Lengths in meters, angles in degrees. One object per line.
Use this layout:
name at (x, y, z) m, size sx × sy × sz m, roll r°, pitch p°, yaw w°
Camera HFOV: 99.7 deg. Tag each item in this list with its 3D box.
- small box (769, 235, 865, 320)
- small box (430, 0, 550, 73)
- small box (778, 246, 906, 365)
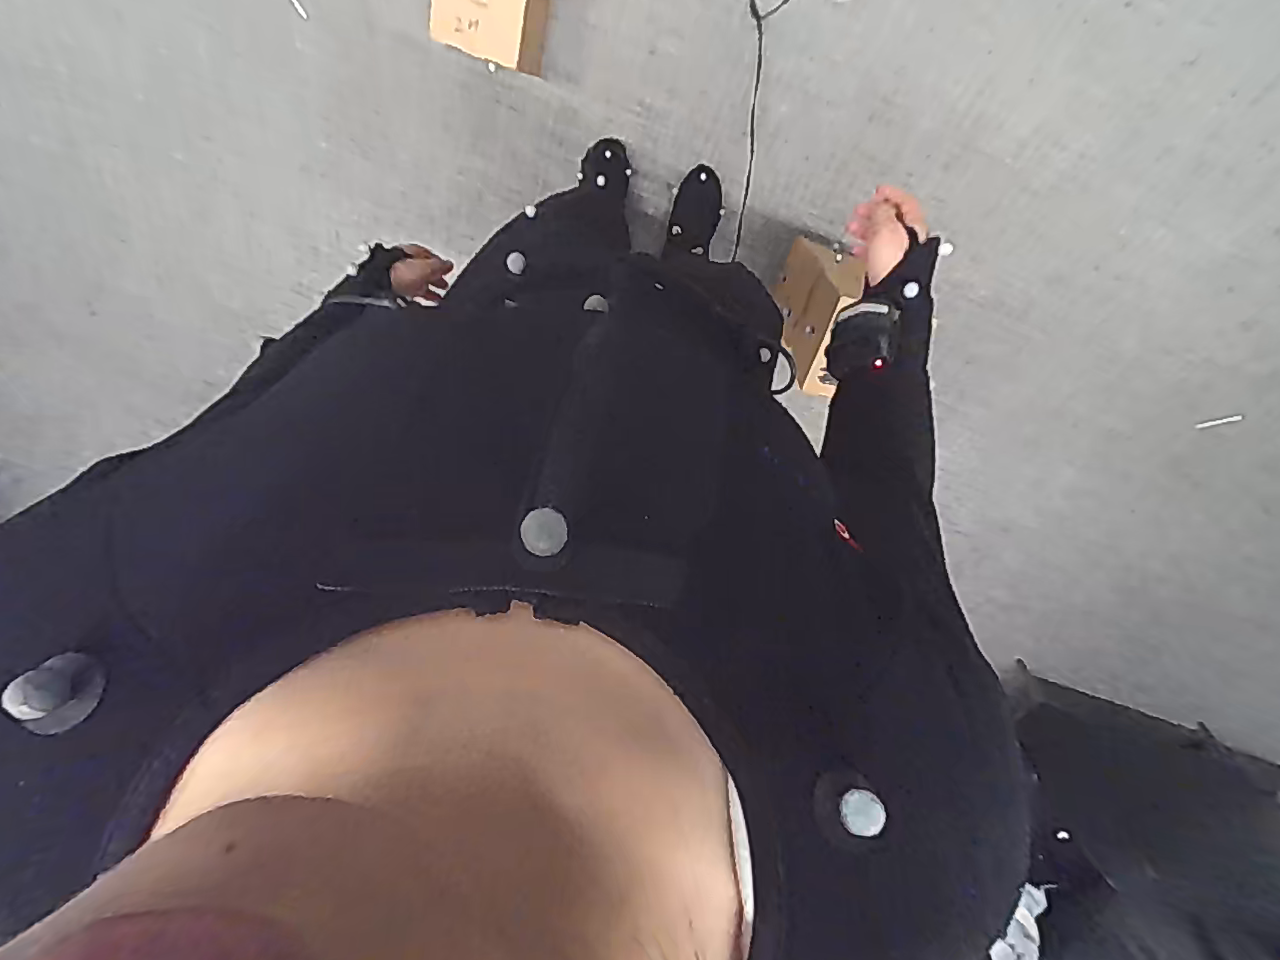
small box at (0.413, -0.448, 1.249) m, size 0.179 × 0.176 × 0.168 m, roll 18°, pitch 125°, yaw -6°
small box at (-0.272, -0.895, 1.010) m, size 0.168 × 0.176 × 0.179 m, roll 17°, pitch 125°, yaw -5°
small box at (0.400, -0.363, 1.111) m, size 0.179 × 0.176 × 0.168 m, roll 14°, pitch 127°, yaw -5°
